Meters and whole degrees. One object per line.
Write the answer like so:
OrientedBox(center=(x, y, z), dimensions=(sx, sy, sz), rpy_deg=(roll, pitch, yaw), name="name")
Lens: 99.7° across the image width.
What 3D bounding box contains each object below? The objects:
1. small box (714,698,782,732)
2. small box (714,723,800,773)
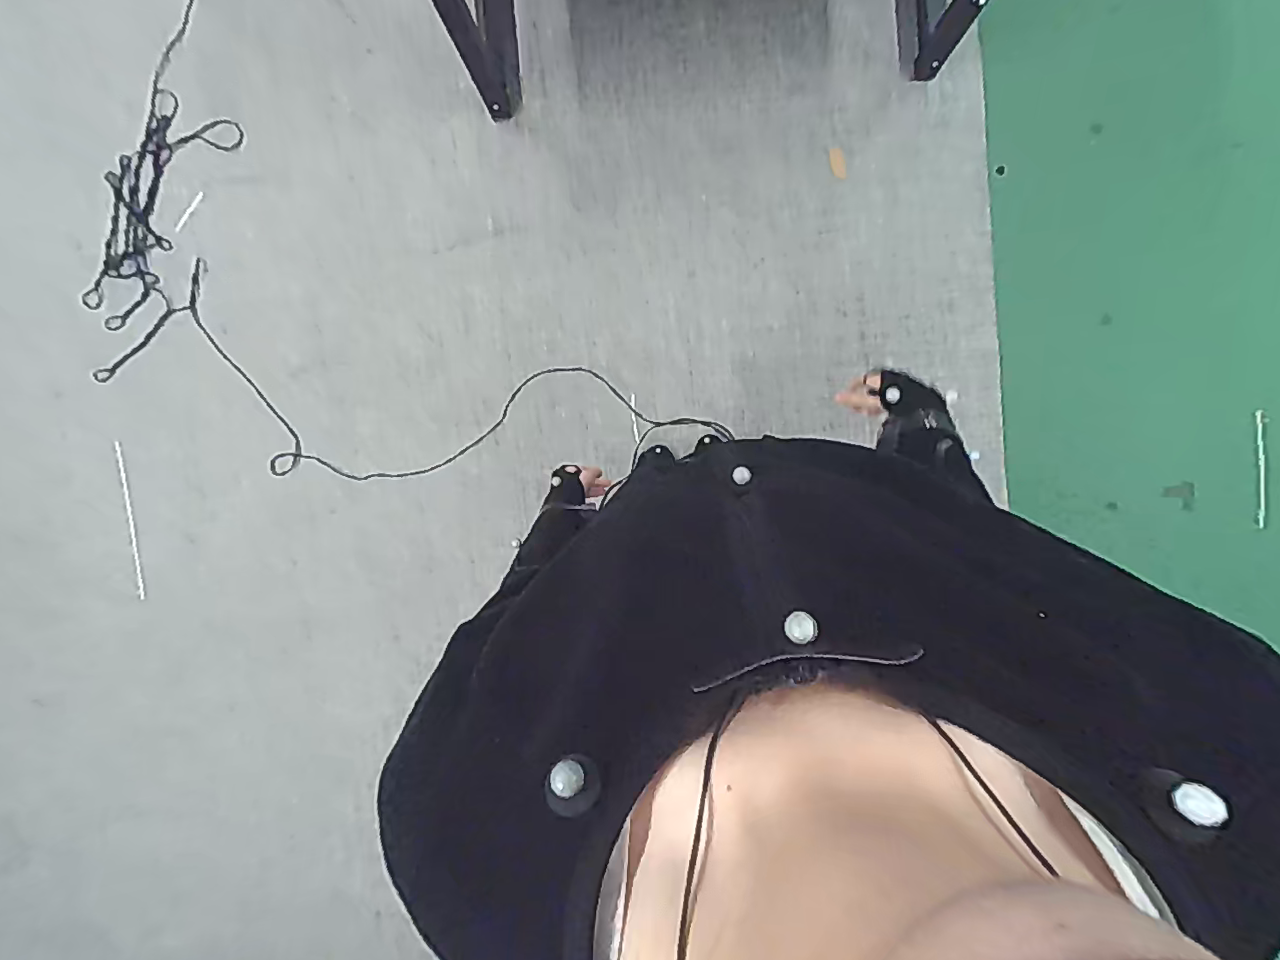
OrientedBox(center=(0.288, 0.687, 1.408), dimensions=(0.168, 0.176, 0.179), rpy_deg=(-10, 92, 6), name="small box")
OrientedBox(center=(0.271, 0.681, 1.246), dimensions=(0.179, 0.176, 0.168), rpy_deg=(-9, 90, 6), name="small box")
